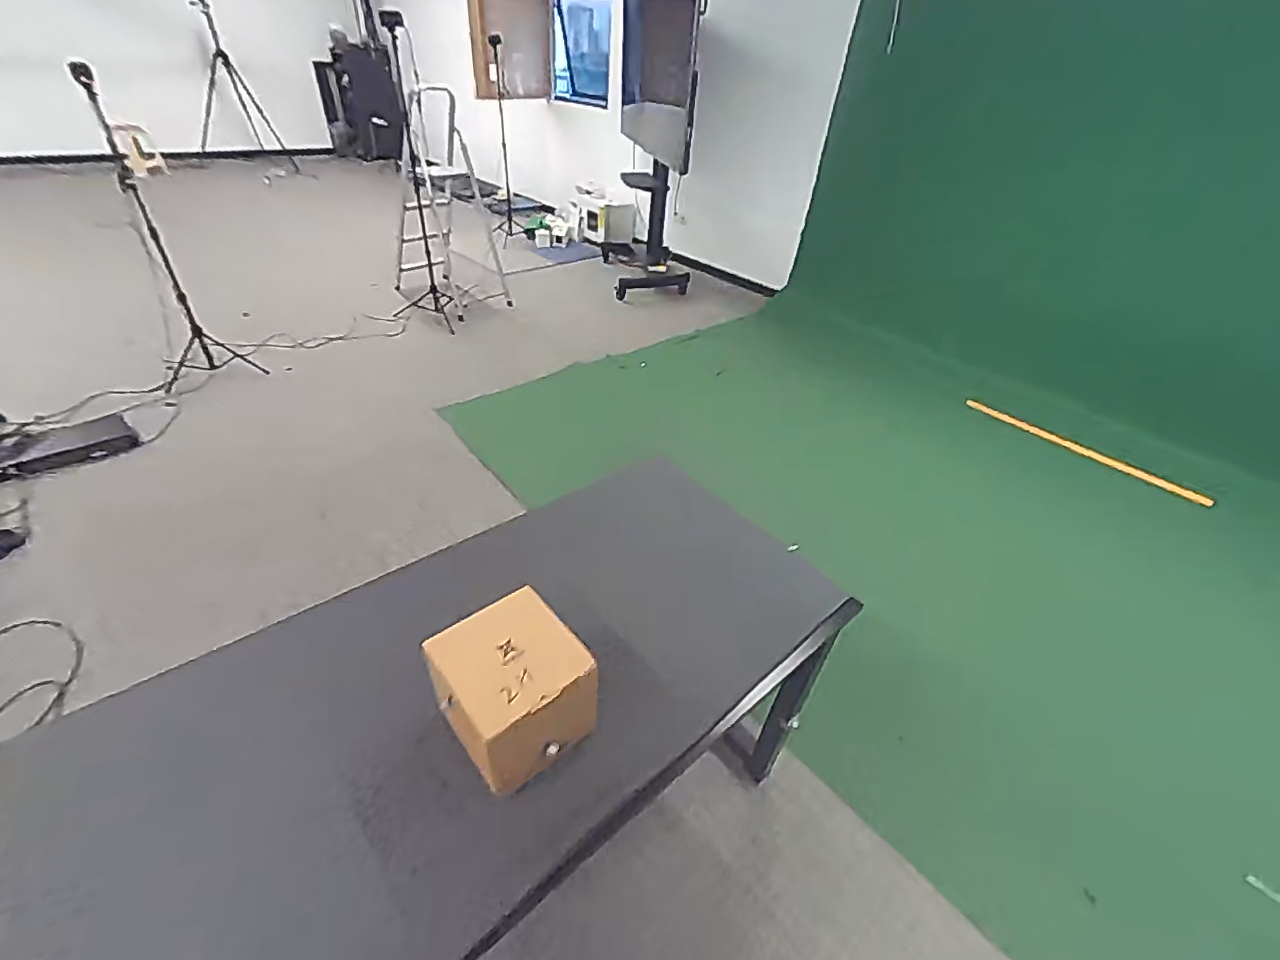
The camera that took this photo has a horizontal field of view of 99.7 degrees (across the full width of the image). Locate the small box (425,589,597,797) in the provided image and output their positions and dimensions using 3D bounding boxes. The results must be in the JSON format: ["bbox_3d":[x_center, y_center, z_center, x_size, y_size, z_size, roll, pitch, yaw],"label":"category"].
[{"bbox_3d":[-0.178,0.296,0.762,0.168,0.176,0.179,-26,47,-34],"label":"small box"}]
